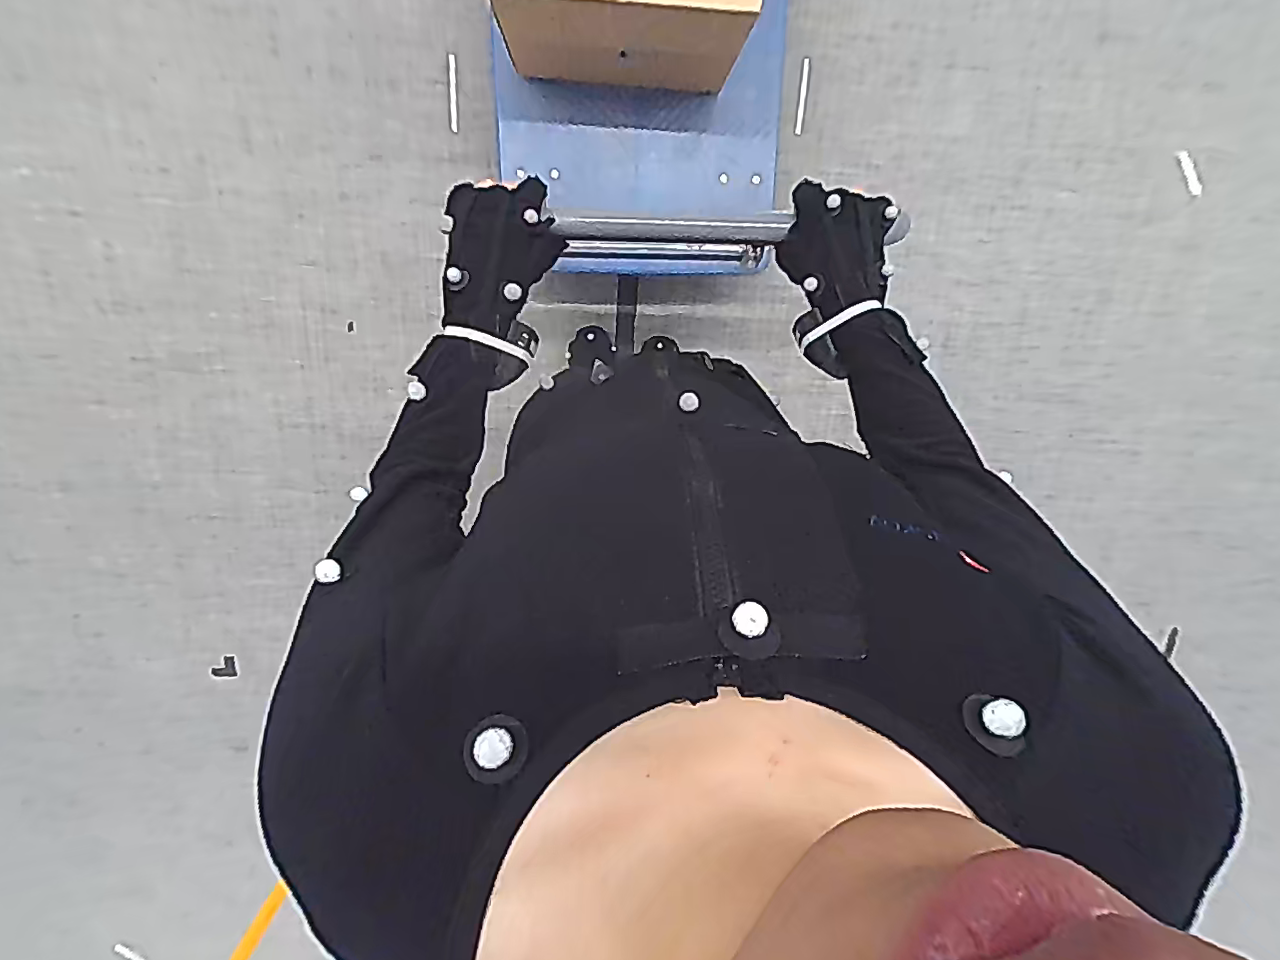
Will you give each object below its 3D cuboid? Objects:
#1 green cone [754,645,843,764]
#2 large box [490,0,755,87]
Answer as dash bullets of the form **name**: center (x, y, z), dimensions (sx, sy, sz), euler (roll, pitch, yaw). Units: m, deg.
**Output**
- **green cone**: center (0.481, 0.663, 1.550), dimensions (0.202, 0.368, 0.200), euler (5, 106, -6)
- **large box**: center (-0.027, -0.896, 0.901), dimensions (0.408, 0.320, 0.320), euler (1, 107, -3)
